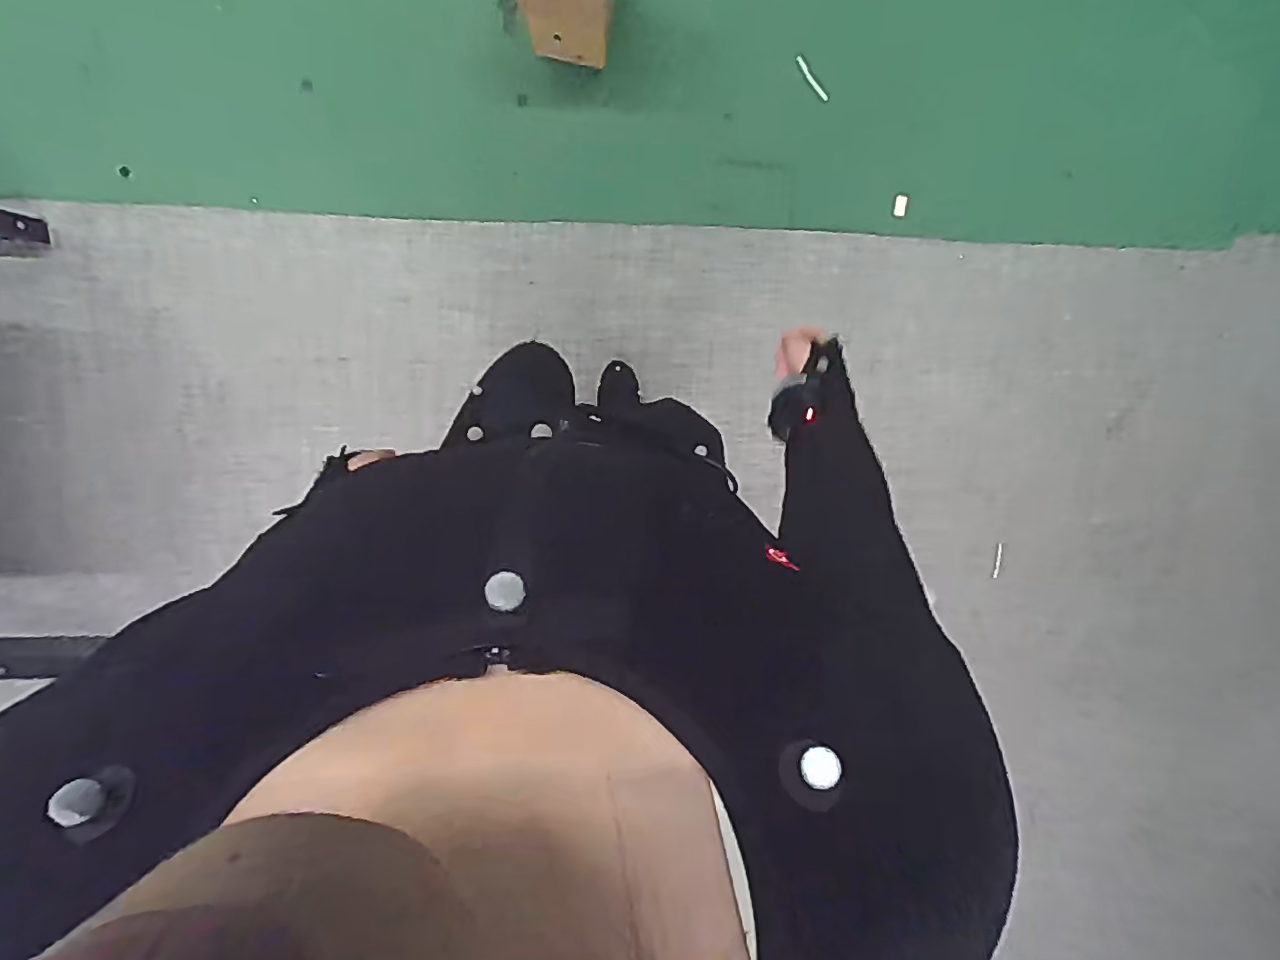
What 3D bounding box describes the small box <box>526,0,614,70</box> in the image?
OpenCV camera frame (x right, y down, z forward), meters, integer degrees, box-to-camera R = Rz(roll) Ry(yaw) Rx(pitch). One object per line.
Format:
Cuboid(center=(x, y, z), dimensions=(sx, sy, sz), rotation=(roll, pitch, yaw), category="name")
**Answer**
Cuboid(center=(-0.145, -1.041, 1.177), dimensions=(0.168, 0.176, 0.179), rotation=(8, 101, -5), category="small box")
